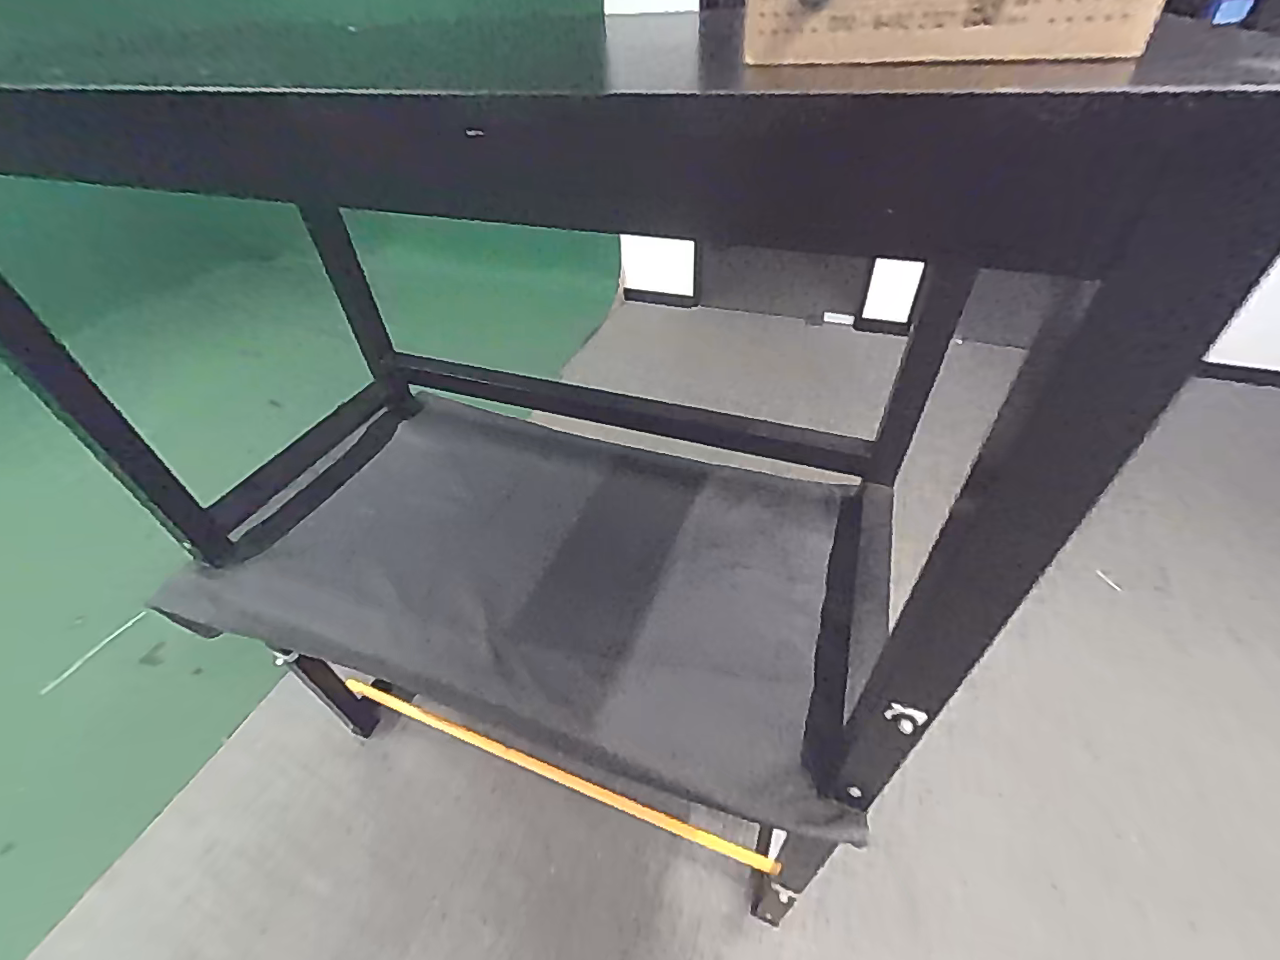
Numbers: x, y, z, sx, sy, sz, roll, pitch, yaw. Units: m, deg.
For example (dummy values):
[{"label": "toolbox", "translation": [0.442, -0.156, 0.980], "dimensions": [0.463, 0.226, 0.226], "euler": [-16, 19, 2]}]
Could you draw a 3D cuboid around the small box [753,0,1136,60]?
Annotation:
[{"label": "small box", "translation": [0.156, -0.309, 0.254], "dimensions": [0.168, 0.176, 0.179], "euler": [15, 44, 20]}]
